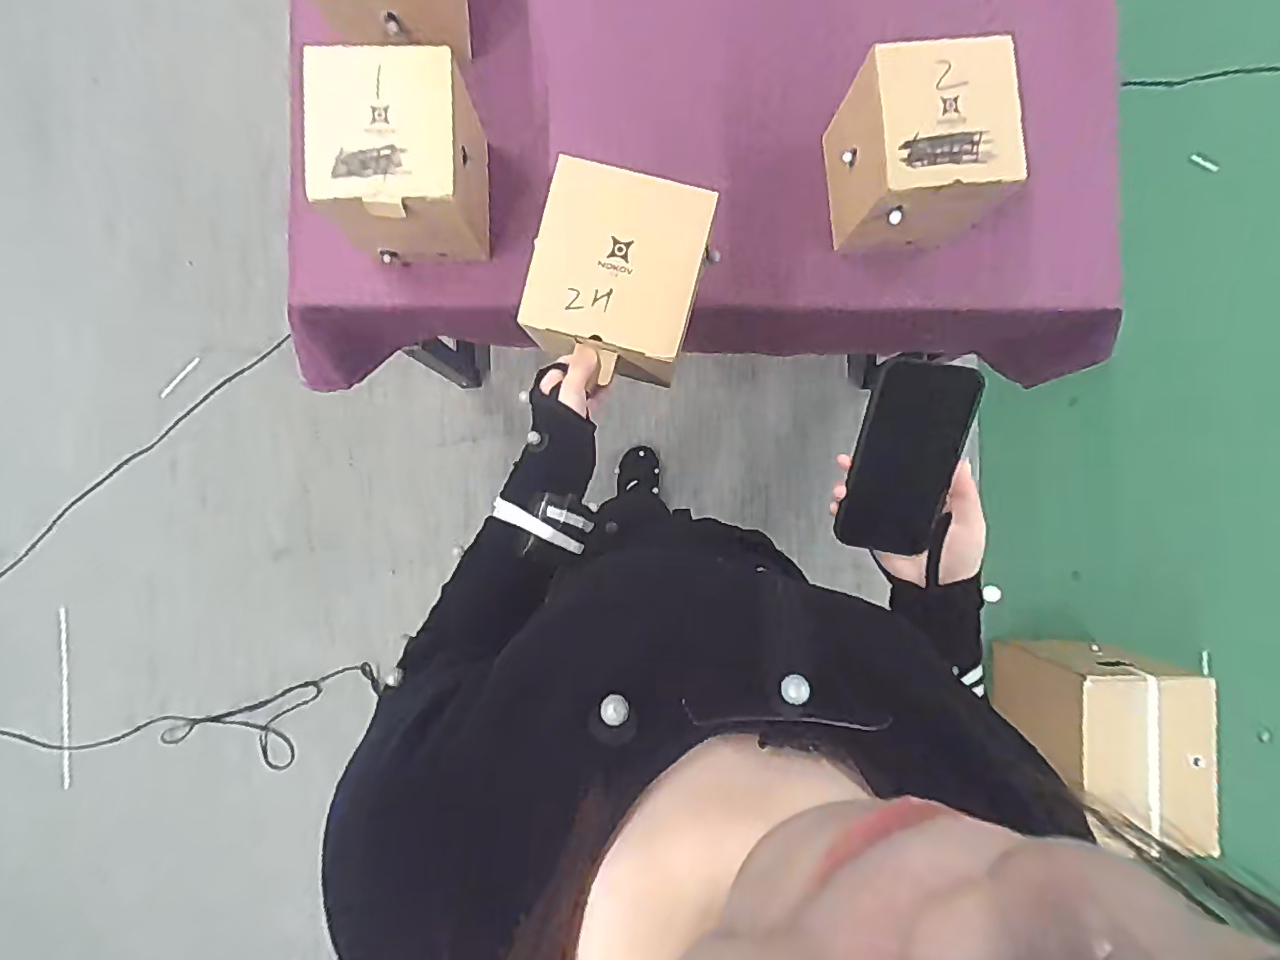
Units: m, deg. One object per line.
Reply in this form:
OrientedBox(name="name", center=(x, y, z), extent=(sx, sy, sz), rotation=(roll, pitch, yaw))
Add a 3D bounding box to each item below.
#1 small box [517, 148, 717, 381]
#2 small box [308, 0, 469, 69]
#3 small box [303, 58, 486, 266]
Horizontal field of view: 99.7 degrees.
OrientedBox(name="small box", center=(-0.023, -0.229, 0.619), extent=(0.168, 0.176, 0.179), rotation=(16, 91, 1))
OrientedBox(name="small box", center=(-0.326, -0.665, 0.692), extent=(0.168, 0.176, 0.179), rotation=(-5, 90, -3))
OrientedBox(name="small box", center=(-0.297, -0.387, 0.688), extent=(0.168, 0.176, 0.179), rotation=(-2, 88, -2))
